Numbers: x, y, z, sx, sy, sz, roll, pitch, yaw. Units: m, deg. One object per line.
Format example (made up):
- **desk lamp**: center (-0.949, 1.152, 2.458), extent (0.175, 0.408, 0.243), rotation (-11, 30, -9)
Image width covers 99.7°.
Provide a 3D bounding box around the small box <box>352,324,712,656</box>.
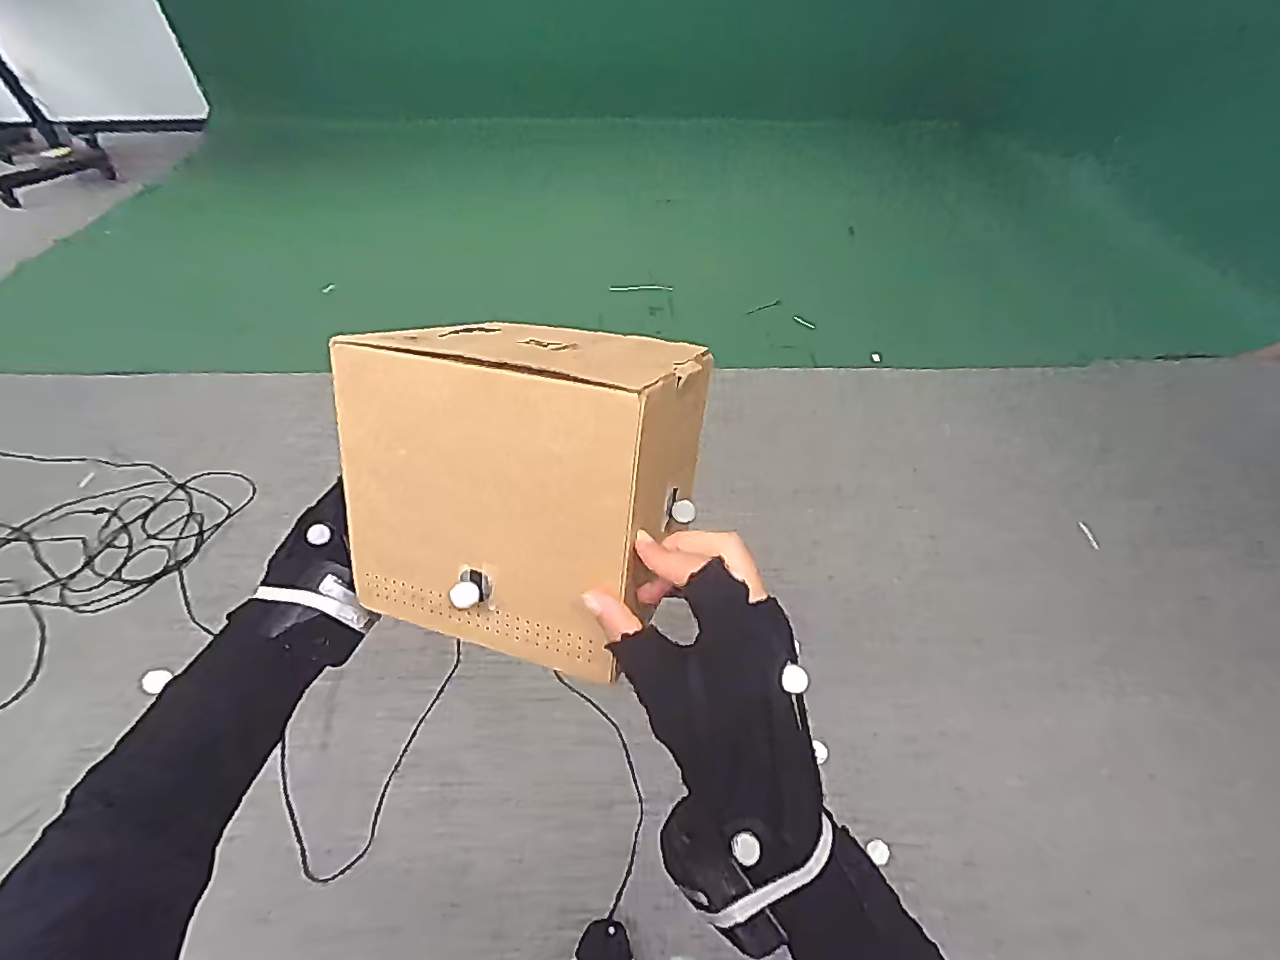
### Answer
- **small box**: center (-0.063, -0.007, 0.374), extent (0.179, 0.176, 0.168), rotation (13, 20, 15)
